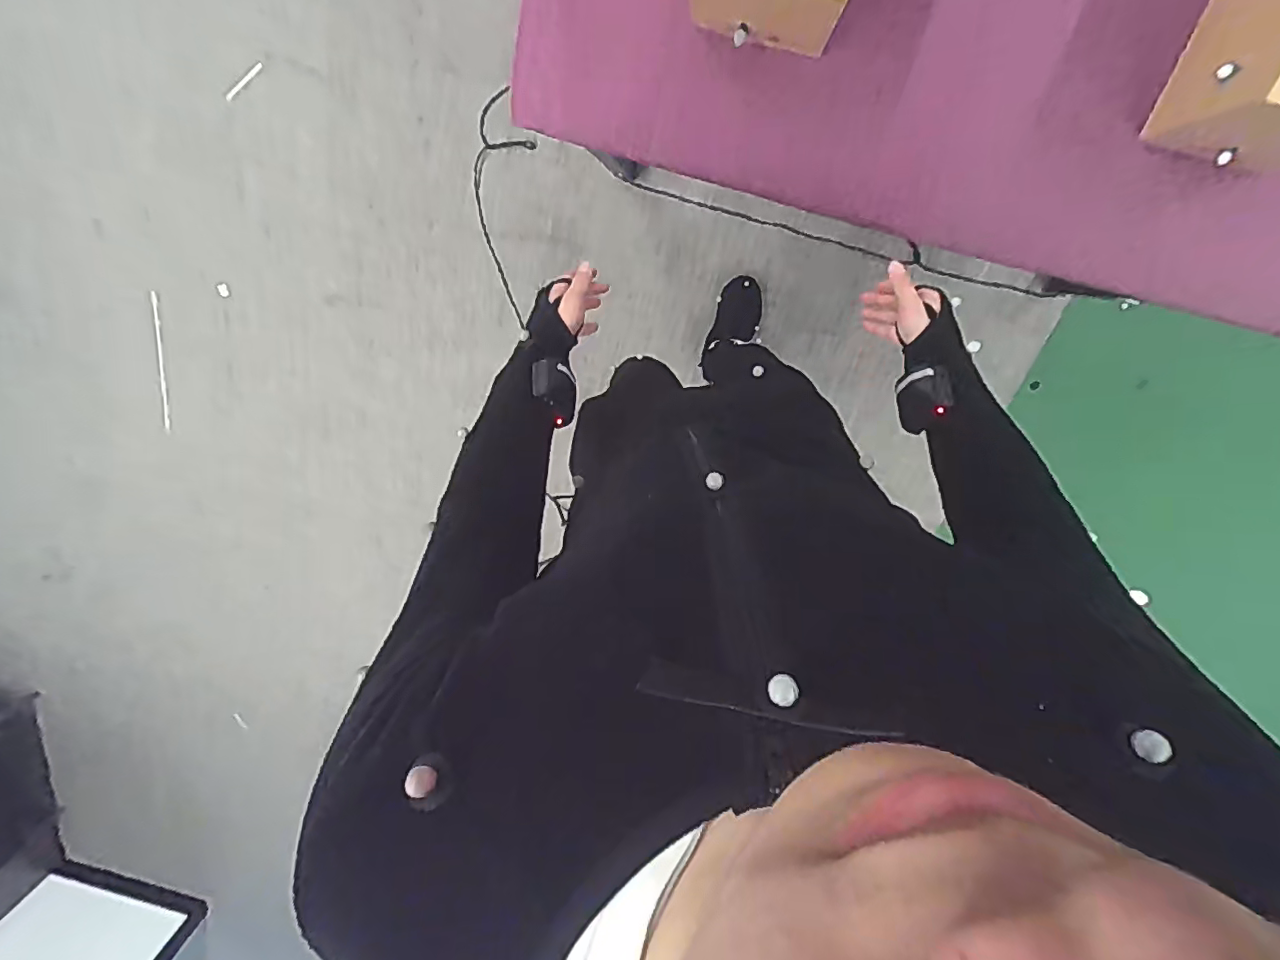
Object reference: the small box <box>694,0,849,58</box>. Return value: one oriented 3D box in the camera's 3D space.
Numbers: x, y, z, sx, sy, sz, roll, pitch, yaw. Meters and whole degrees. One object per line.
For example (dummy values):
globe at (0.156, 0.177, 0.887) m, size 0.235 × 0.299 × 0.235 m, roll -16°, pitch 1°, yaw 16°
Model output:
small box at (0.151, -0.583, 0.556) m, size 0.168 × 0.176 × 0.179 m, roll 16°, pitch 113°, yaw 1°
